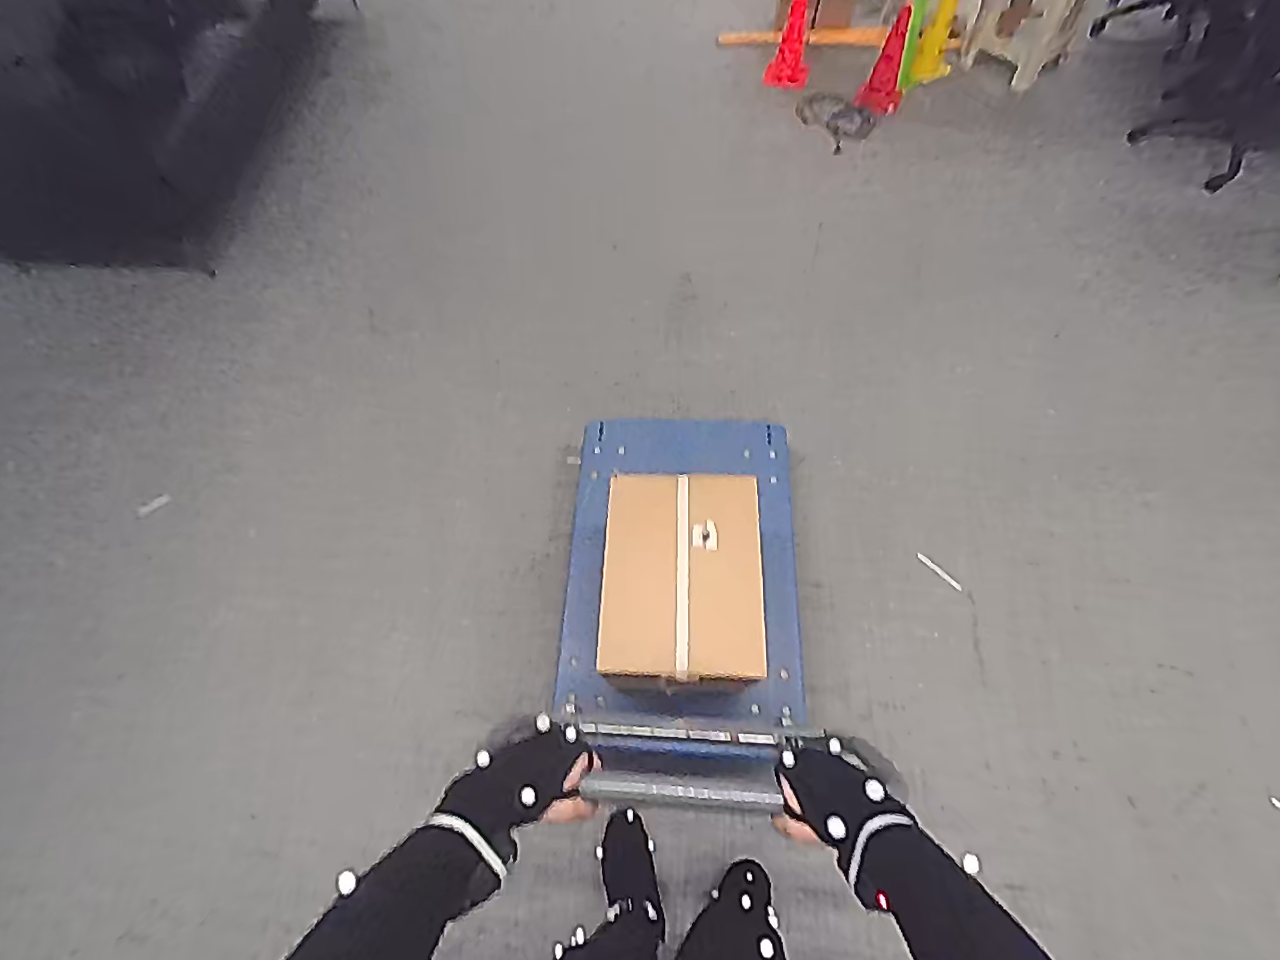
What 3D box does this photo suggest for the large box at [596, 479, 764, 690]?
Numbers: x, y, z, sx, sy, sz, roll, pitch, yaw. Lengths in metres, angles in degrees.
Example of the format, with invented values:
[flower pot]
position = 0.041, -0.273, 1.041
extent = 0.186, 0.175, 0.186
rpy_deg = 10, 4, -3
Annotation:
[large box]
position = 0.087, 0.245, 1.206
extent = 0.320, 0.320, 0.408
rpy_deg = 1, 64, 4
